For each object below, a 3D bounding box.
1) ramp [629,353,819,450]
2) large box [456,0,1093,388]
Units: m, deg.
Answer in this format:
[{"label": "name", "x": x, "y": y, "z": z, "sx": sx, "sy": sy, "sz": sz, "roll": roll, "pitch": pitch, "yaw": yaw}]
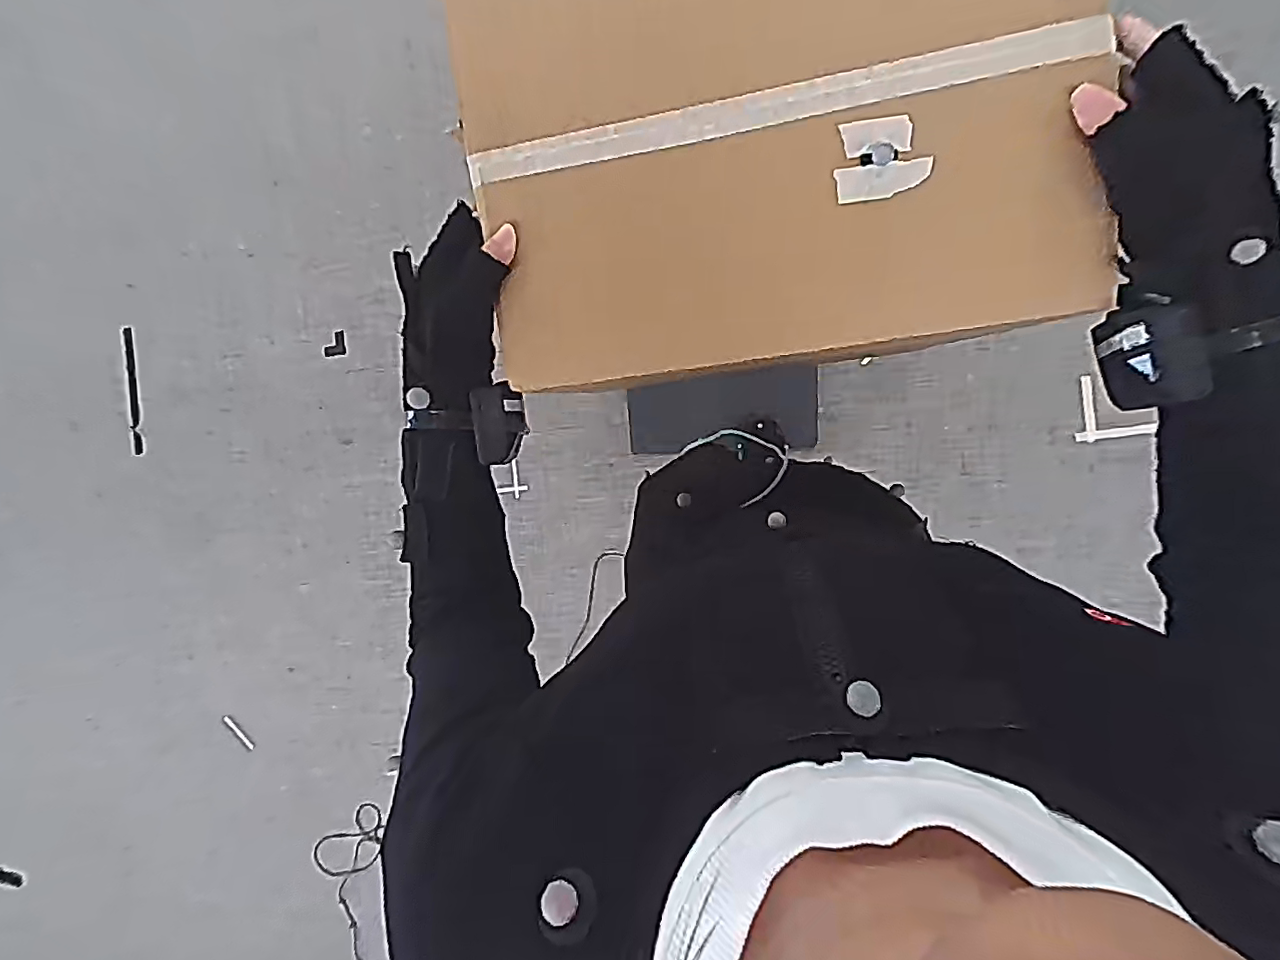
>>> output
[{"label": "ramp", "x": 0.189, "y": -0.574, "z": 1.333, "sx": 0.509, "sy": 0.206, "sz": 0.991, "roll": -4, "pitch": 93, "yaw": 9}, {"label": "large box", "x": 0.099, "y": -0.273, "z": 0.510, "sx": 0.408, "sy": 0.320, "sz": 0.320, "roll": -7, "pitch": 99, "yaw": 8}]
